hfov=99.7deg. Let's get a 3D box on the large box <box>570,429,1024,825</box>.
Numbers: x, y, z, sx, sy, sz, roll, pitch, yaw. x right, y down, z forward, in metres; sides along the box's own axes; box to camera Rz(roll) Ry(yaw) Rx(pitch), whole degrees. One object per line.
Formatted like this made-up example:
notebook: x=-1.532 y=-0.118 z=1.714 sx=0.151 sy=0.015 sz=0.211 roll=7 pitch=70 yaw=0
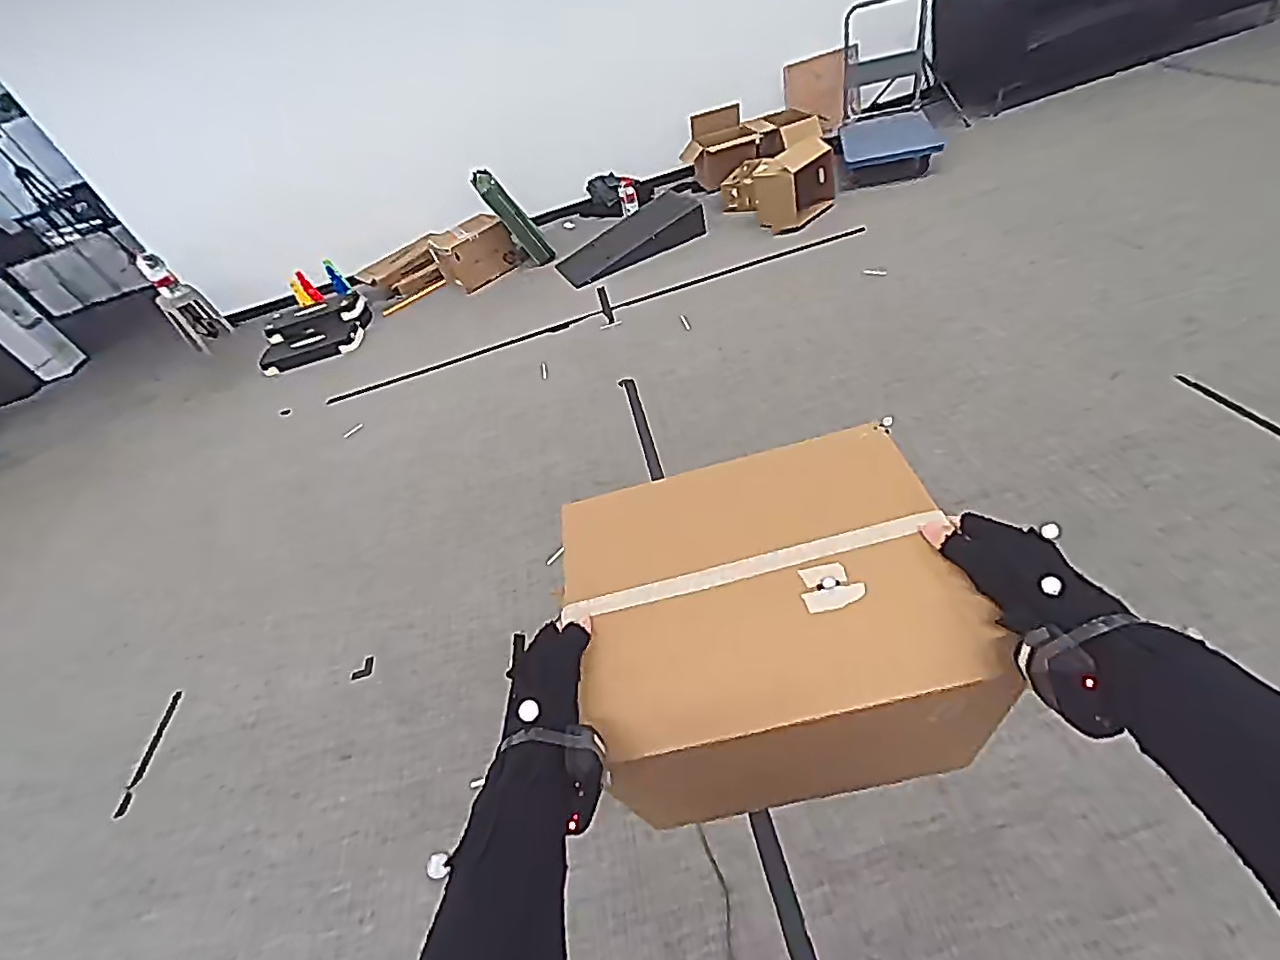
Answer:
large box: x=0.154 y=0.193 z=0.685 sx=0.408 sy=0.320 sz=0.320 roll=-15 pitch=47 yaw=4
